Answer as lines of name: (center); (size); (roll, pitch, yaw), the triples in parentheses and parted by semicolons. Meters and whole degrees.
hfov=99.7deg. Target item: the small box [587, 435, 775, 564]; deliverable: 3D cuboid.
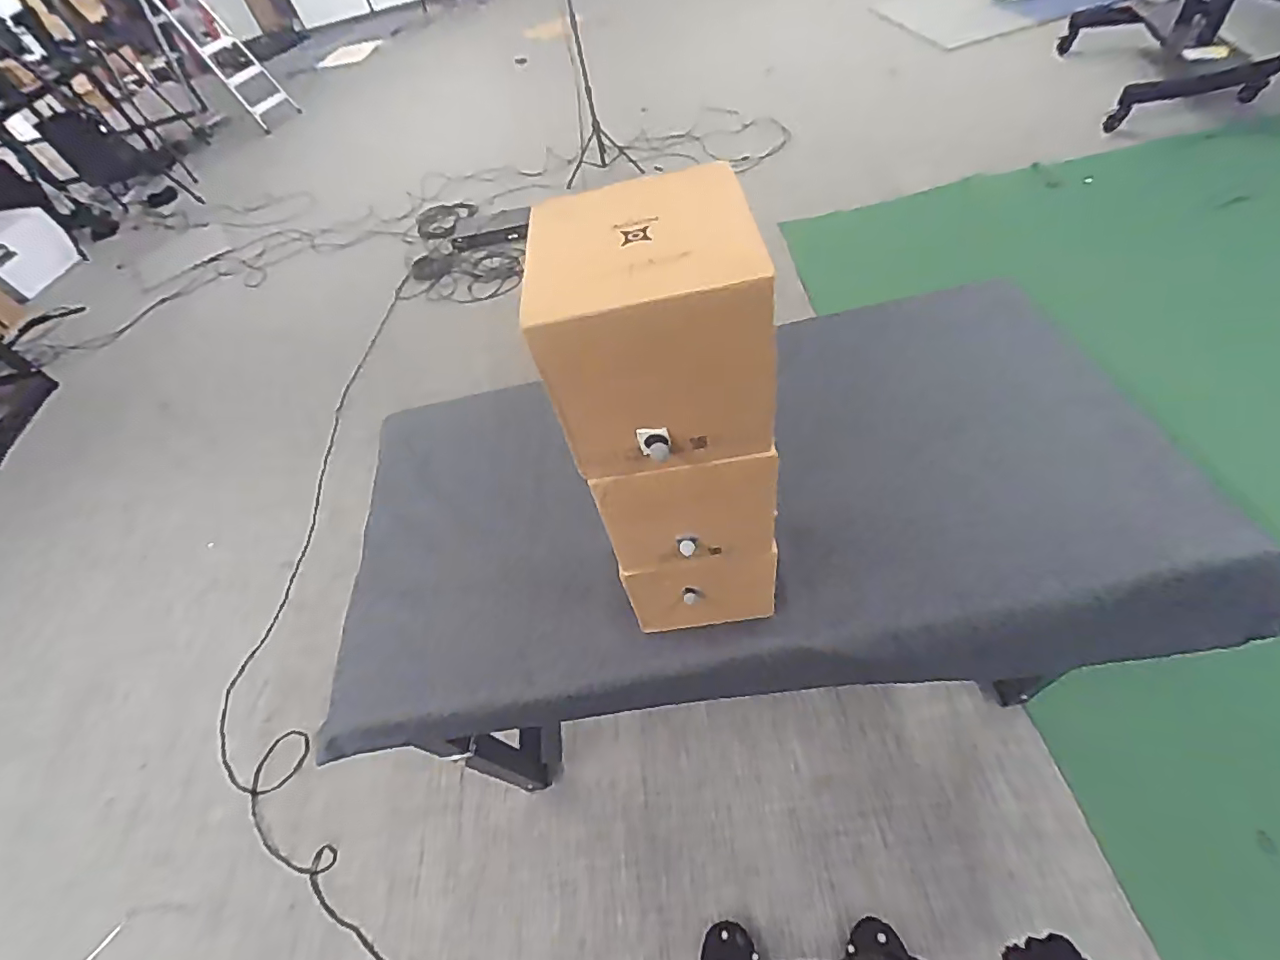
small box: (0.043, -0.031, 0.578); (0.168, 0.176, 0.179); (-7, 52, 6)

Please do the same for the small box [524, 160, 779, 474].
small box: (0.014, -0.130, 0.454); (0.168, 0.176, 0.179); (-10, 53, 6)

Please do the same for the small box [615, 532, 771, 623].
small box: (0.069, 0.073, 0.703); (0.179, 0.176, 0.168); (-9, 52, 6)
